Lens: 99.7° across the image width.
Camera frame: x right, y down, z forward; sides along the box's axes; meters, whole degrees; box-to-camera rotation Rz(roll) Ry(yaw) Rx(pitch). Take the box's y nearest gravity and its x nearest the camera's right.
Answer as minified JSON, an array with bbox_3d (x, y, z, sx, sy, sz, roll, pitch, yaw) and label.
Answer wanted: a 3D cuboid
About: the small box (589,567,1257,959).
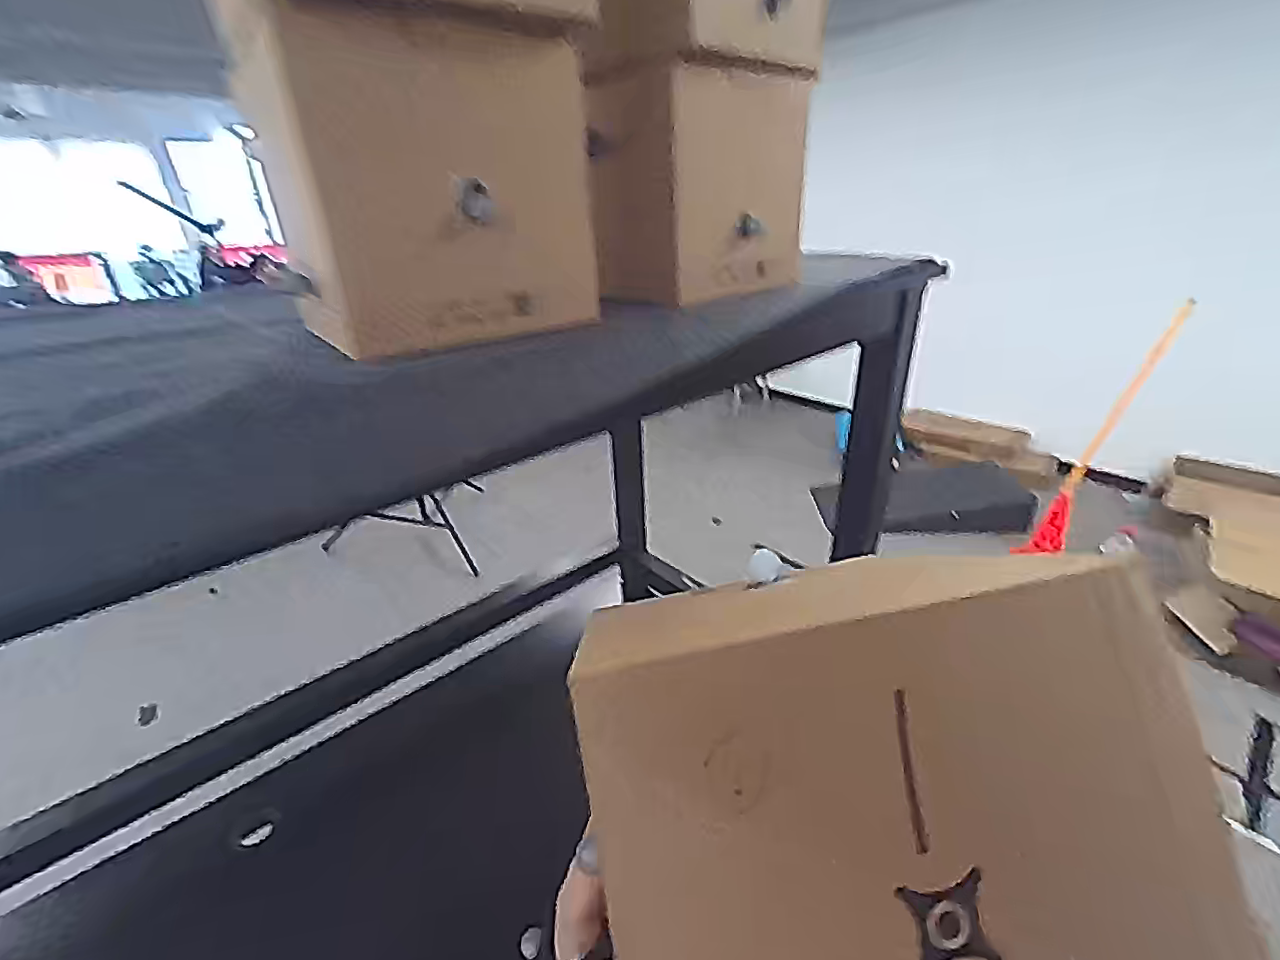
[{"bbox_3d":[0.077,0.136,0.222,0.168,0.179,0.176,-10,-8,-4],"label":"small box"}]

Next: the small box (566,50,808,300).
[{"bbox_3d":[0.030,-0.268,0.504,0.168,0.176,0.179,-24,34,-34],"label":"small box"}]

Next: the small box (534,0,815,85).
[{"bbox_3d":[0.031,-0.413,0.421,0.168,0.176,0.179,22,35,40],"label":"small box"}]

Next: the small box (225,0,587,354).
[{"bbox_3d":[-0.151,-0.190,0.371,0.168,0.176,0.179,-22,32,-33],"label":"small box"}]
